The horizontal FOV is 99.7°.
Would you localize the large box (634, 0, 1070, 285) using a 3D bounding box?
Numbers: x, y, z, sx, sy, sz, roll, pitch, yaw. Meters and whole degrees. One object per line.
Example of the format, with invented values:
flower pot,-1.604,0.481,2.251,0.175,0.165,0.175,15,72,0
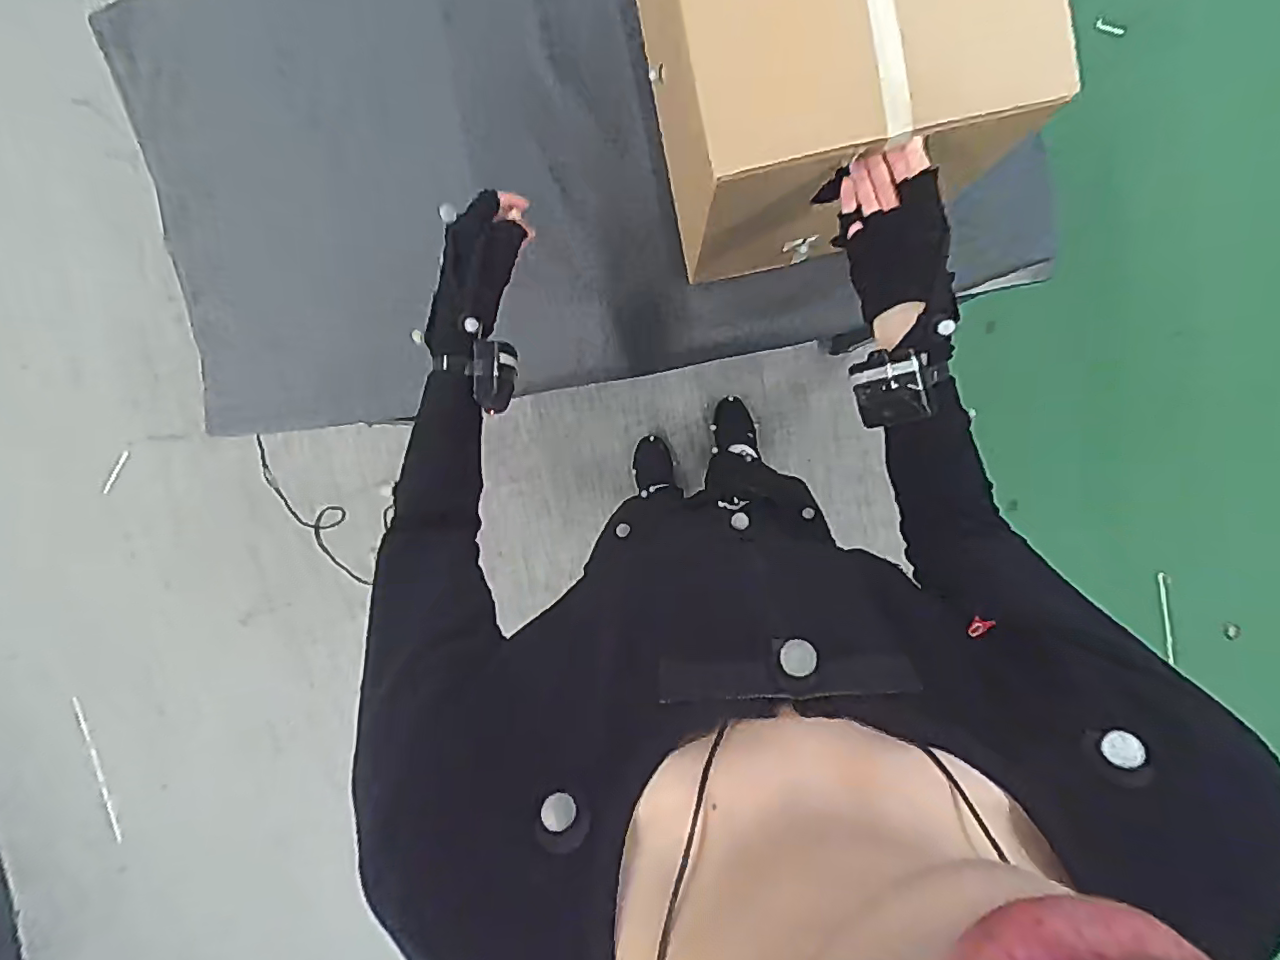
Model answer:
large box,0.174,-0.488,0.596,0.320,0.320,0.408,-12,92,2
